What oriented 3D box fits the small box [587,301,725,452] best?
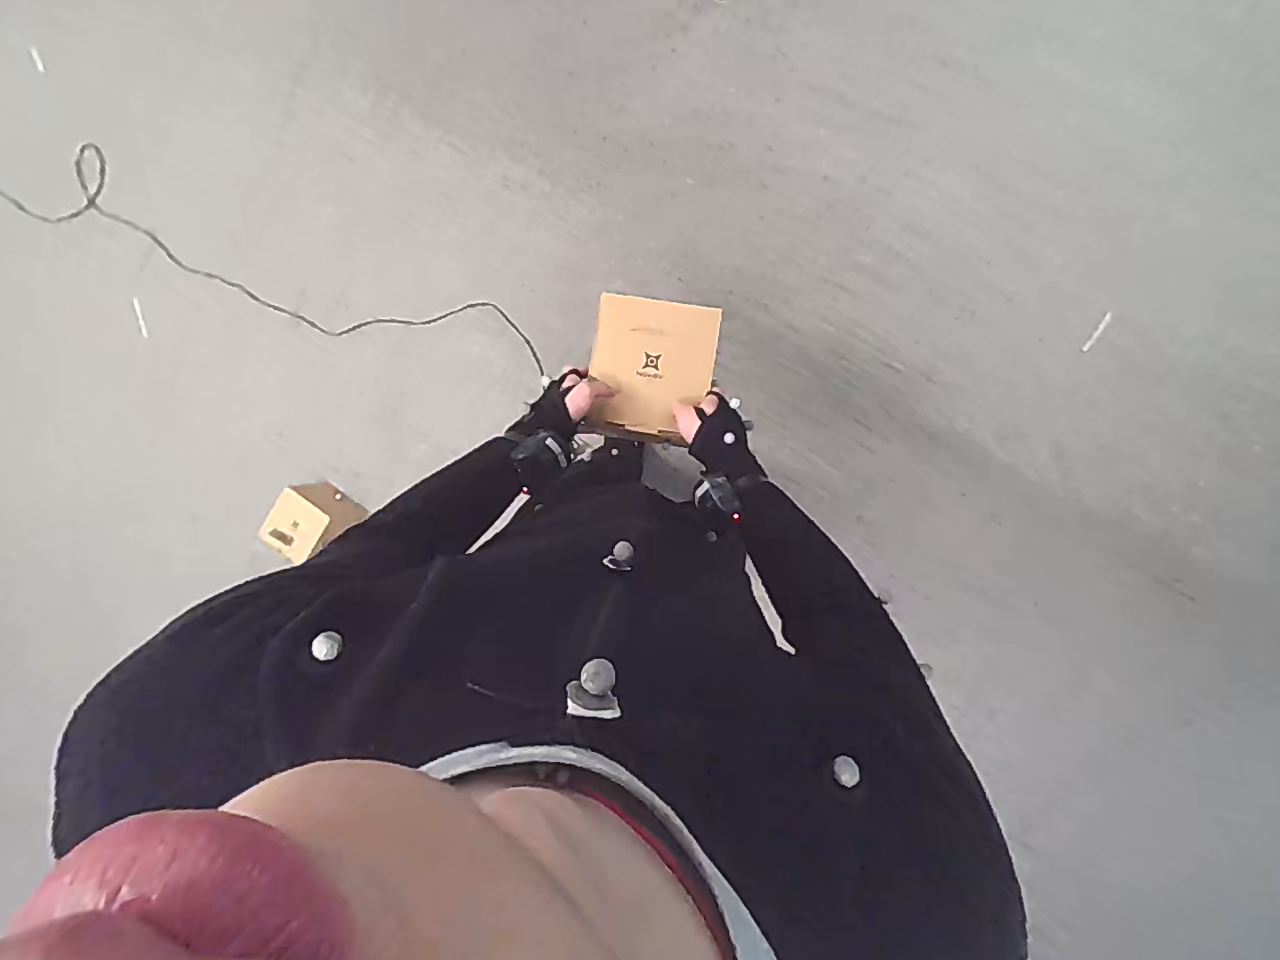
[{"bbox_3d":[0.025,-0.141,0.800,0.168,0.176,0.179,8,86,2],"label":"small box"}]

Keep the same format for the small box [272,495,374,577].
[{"bbox_3d":[-0.945,0.162,1.627,0.168,0.176,0.179,34,95,5],"label":"small box"}]
